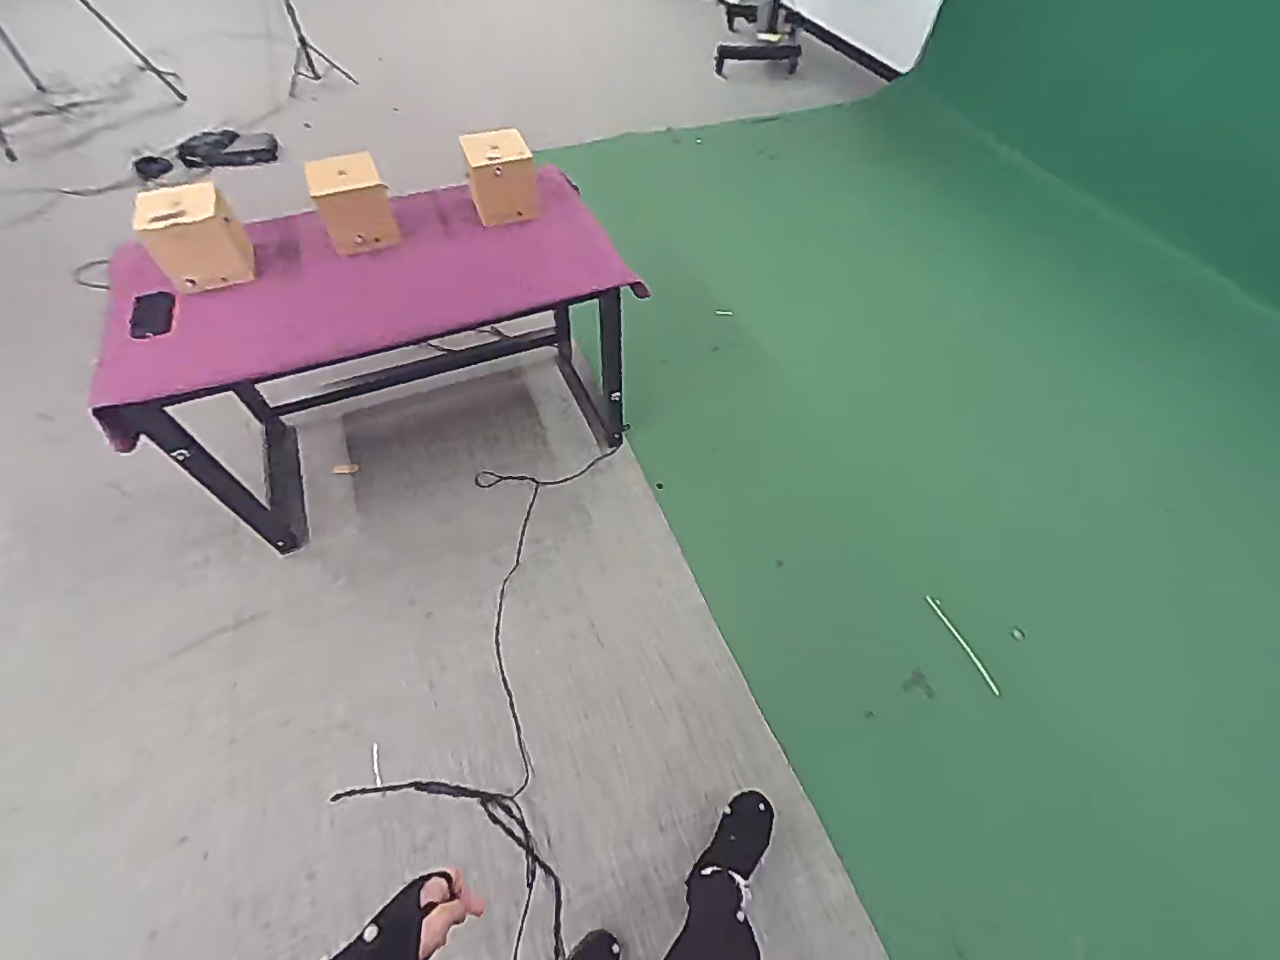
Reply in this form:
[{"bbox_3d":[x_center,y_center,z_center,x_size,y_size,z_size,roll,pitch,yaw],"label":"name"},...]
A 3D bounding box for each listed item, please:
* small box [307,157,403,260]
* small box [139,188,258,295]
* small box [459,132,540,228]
[{"bbox_3d":[-0.747,-0.714,1.426,0.168,0.176,0.179,-20,59,-13],"label":"small box"},{"bbox_3d":[-1.071,-0.576,1.325,0.168,0.176,0.179,-20,58,-14],"label":"small box"},{"bbox_3d":[-0.390,-0.839,1.515,0.168,0.176,0.179,-19,58,-12],"label":"small box"}]
